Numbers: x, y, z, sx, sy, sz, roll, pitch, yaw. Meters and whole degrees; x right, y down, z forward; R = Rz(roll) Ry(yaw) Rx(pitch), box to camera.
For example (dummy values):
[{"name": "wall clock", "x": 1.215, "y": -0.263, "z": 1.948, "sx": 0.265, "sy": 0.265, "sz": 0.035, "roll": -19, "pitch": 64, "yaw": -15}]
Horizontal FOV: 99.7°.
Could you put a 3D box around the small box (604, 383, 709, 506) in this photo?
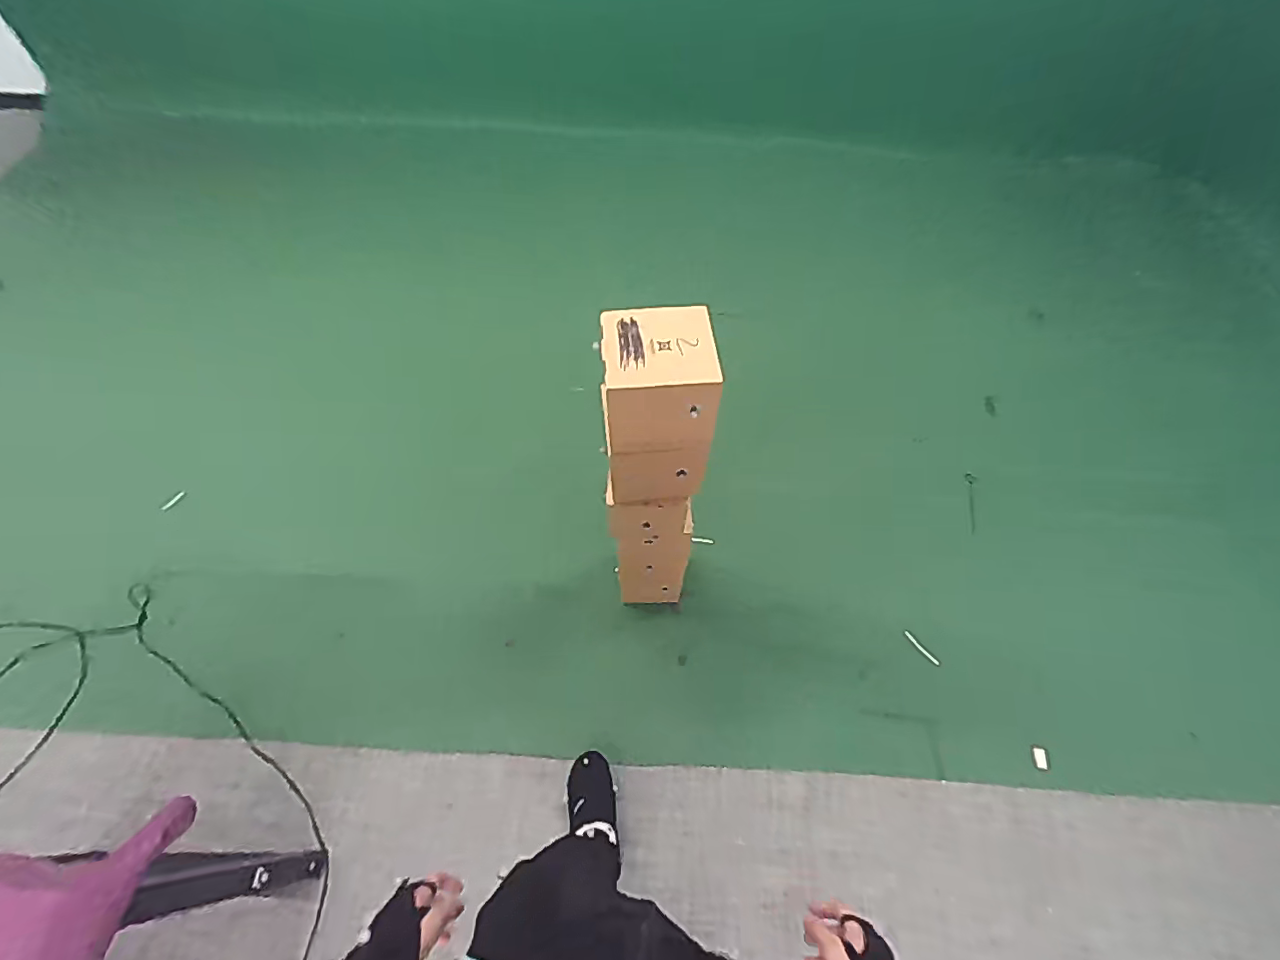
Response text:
[{"name": "small box", "x": 0.026, "y": -0.064, "z": 1.039, "sx": 0.179, "sy": 0.176, "sz": 0.168, "roll": -6, "pitch": 58, "yaw": -3}]

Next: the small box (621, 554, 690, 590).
[{"name": "small box", "x": 0.038, "y": 0.191, "z": 1.457, "sx": 0.179, "sy": 0.176, "sz": 0.168, "roll": 1, "pitch": 59, "yaw": 0}]

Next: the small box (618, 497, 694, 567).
[{"name": "small box", "x": 0.034, "y": 0.106, "z": 1.317, "sx": 0.179, "sy": 0.176, "sz": 0.168, "roll": -1, "pitch": 59, "yaw": -2}]

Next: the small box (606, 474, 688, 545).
[{"name": "small box", "x": 0.020, "y": 0.030, "z": 1.172, "sx": 0.168, "sy": 0.176, "sz": 0.179, "roll": 2, "pitch": 59, "yaw": 1}]

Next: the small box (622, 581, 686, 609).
[{"name": "small box", "x": 0.036, "y": 0.275, "z": 1.595, "sx": 0.179, "sy": 0.176, "sz": 0.168, "roll": 0, "pitch": 58, "yaw": -1}]
